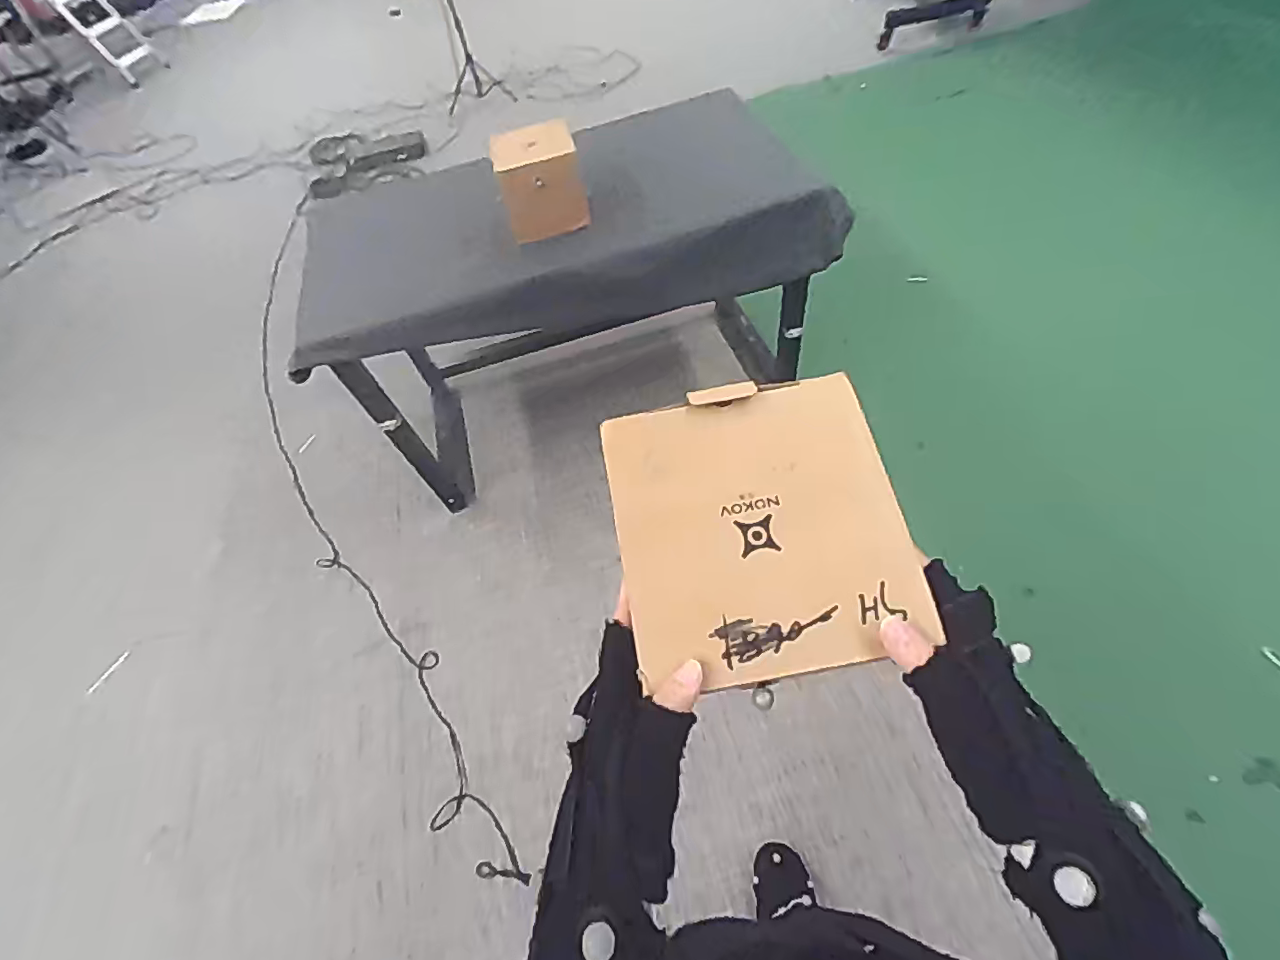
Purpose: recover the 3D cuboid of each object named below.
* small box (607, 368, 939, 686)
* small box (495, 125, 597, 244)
[{"bbox_3d":[0.078,0.048,0.408,0.168,0.176,0.179,-14,68,0],"label":"small box"},{"bbox_3d":[-0.210,-0.664,1.227,0.179,0.176,0.168,-16,56,-3],"label":"small box"}]
